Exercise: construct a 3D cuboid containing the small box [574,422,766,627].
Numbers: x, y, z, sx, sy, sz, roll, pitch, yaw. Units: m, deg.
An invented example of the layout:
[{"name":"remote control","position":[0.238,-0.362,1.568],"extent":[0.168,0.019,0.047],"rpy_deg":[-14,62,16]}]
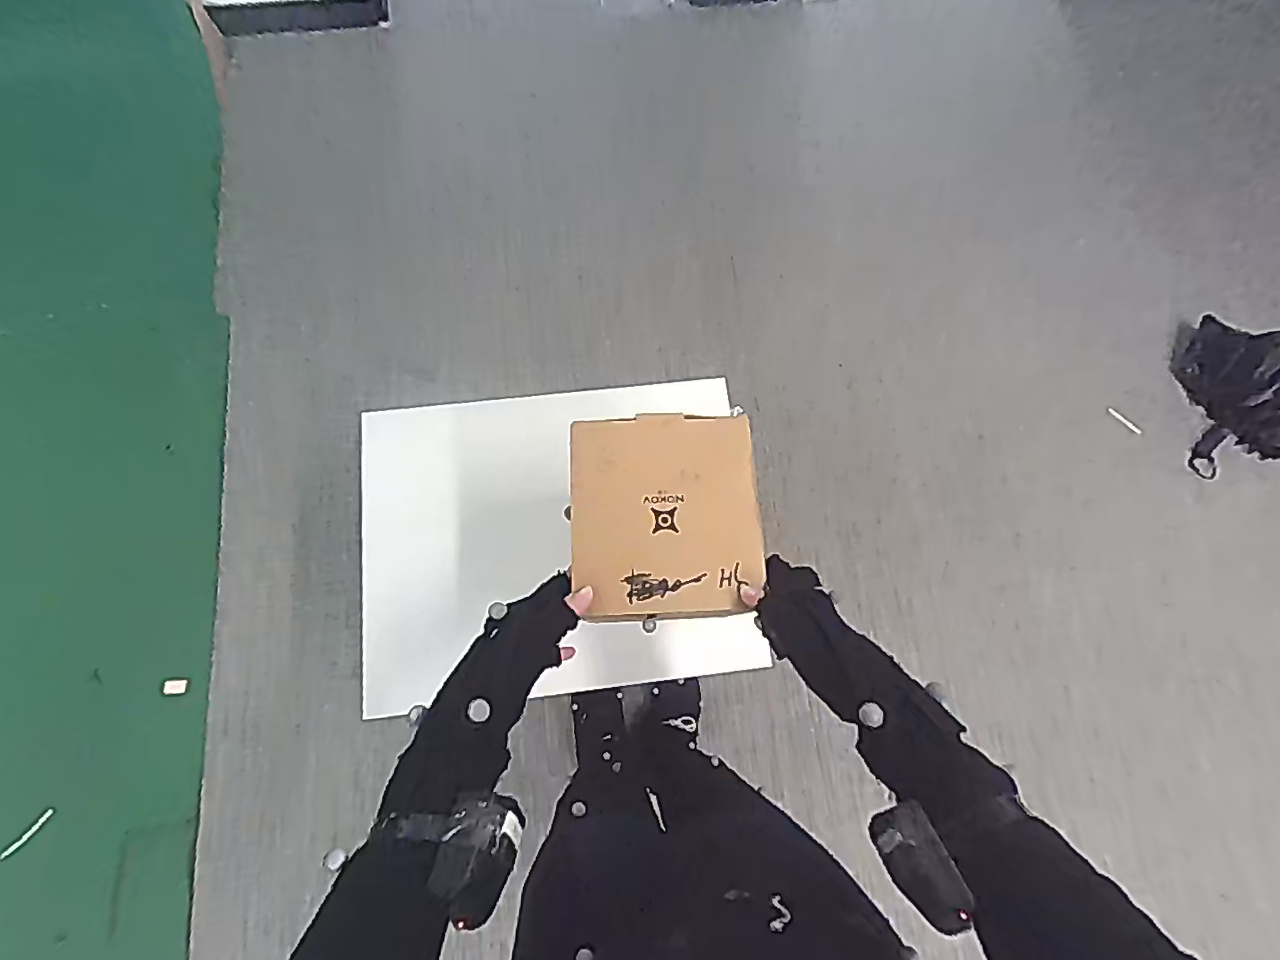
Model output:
[{"name":"small box","position":[0.021,0.055,0.556],"extent":[0.168,0.176,0.179],"rpy_deg":[-3,74,-1]}]
